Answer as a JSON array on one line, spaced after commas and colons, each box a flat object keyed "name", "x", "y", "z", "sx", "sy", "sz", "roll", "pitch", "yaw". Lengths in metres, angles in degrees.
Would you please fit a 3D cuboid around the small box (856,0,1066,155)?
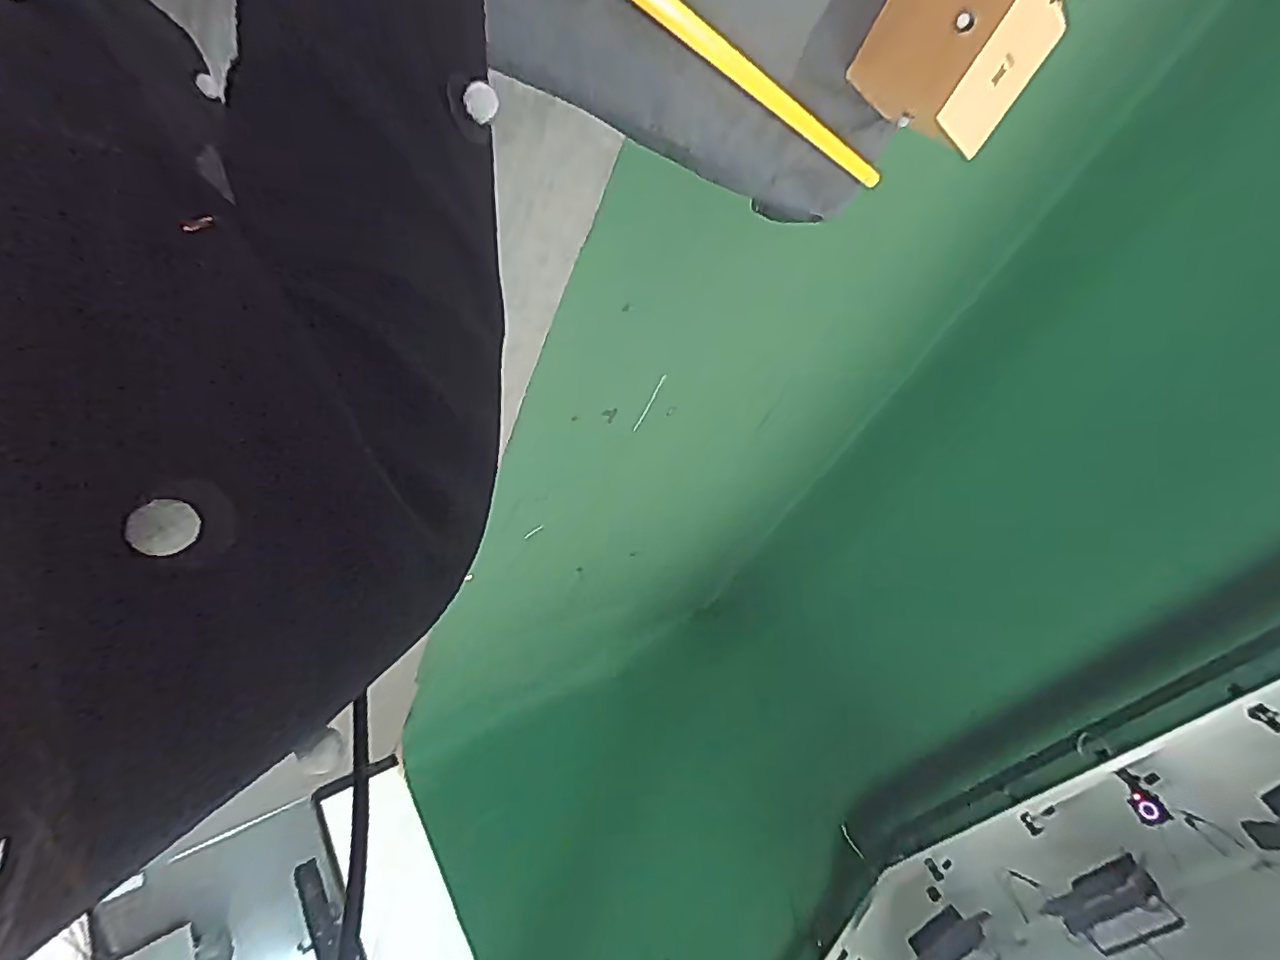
[{"name": "small box", "x": 0.431, "y": -0.600, "z": 0.750, "sx": 0.168, "sy": 0.176, "sz": 0.179, "roll": -7, "pitch": 137, "yaw": -45}]
